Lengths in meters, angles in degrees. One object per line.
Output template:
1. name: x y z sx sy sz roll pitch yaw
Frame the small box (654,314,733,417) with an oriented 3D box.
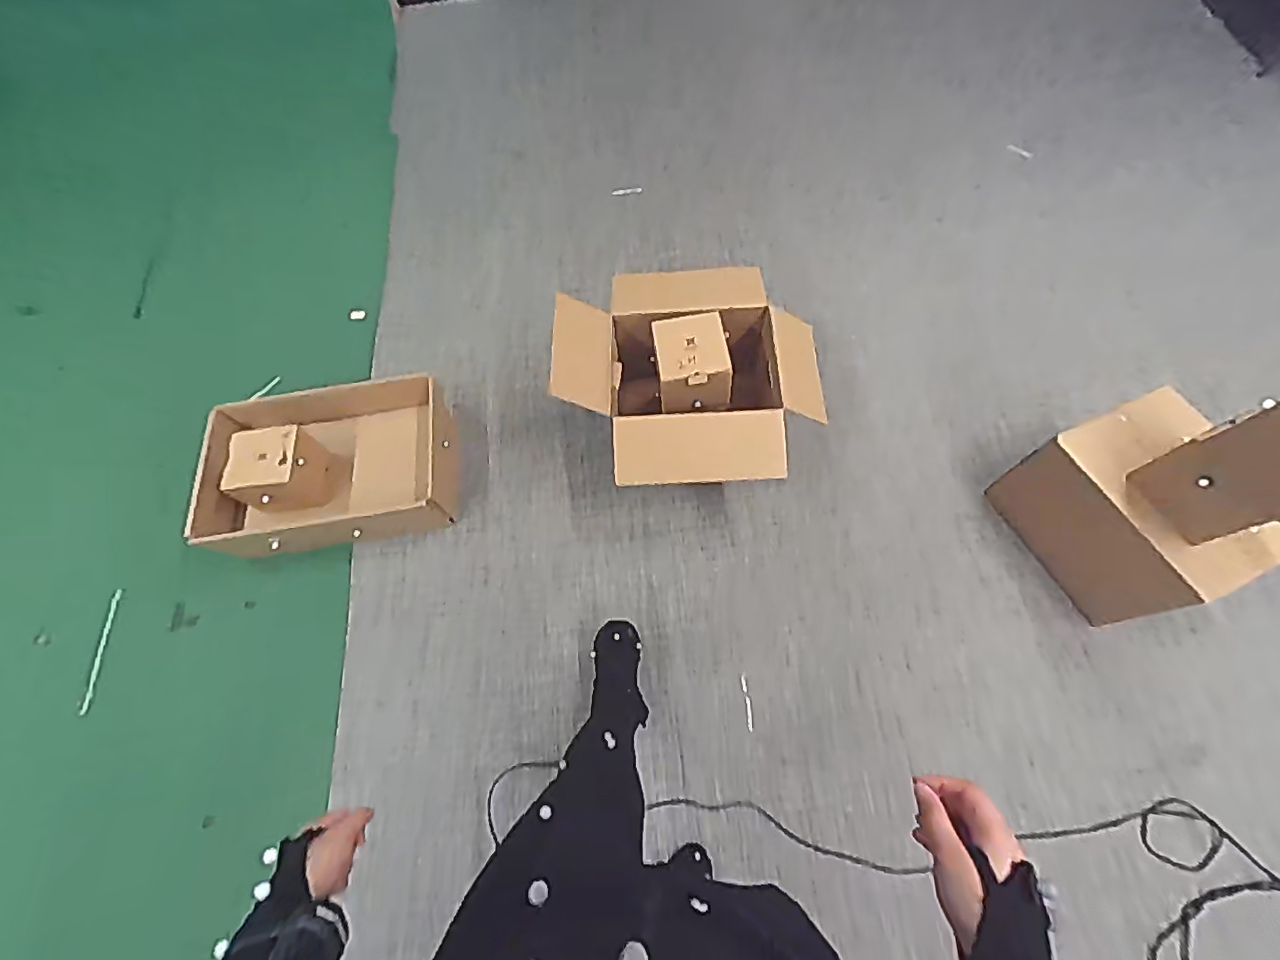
1. small box: 0.131 -0.282 1.351 0.168 0.176 0.179 -10 66 3

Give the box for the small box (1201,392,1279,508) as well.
1. small box: 1.108 -0.068 0.879 0.168 0.176 0.179 -24 66 -5

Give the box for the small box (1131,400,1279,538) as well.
1. small box: 1.116 -0.014 1.032 0.168 0.176 0.179 -24 67 -5

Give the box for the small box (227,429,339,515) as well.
1. small box: -0.954 -0.016 1.460 0.179 0.176 0.168 -8 65 0
